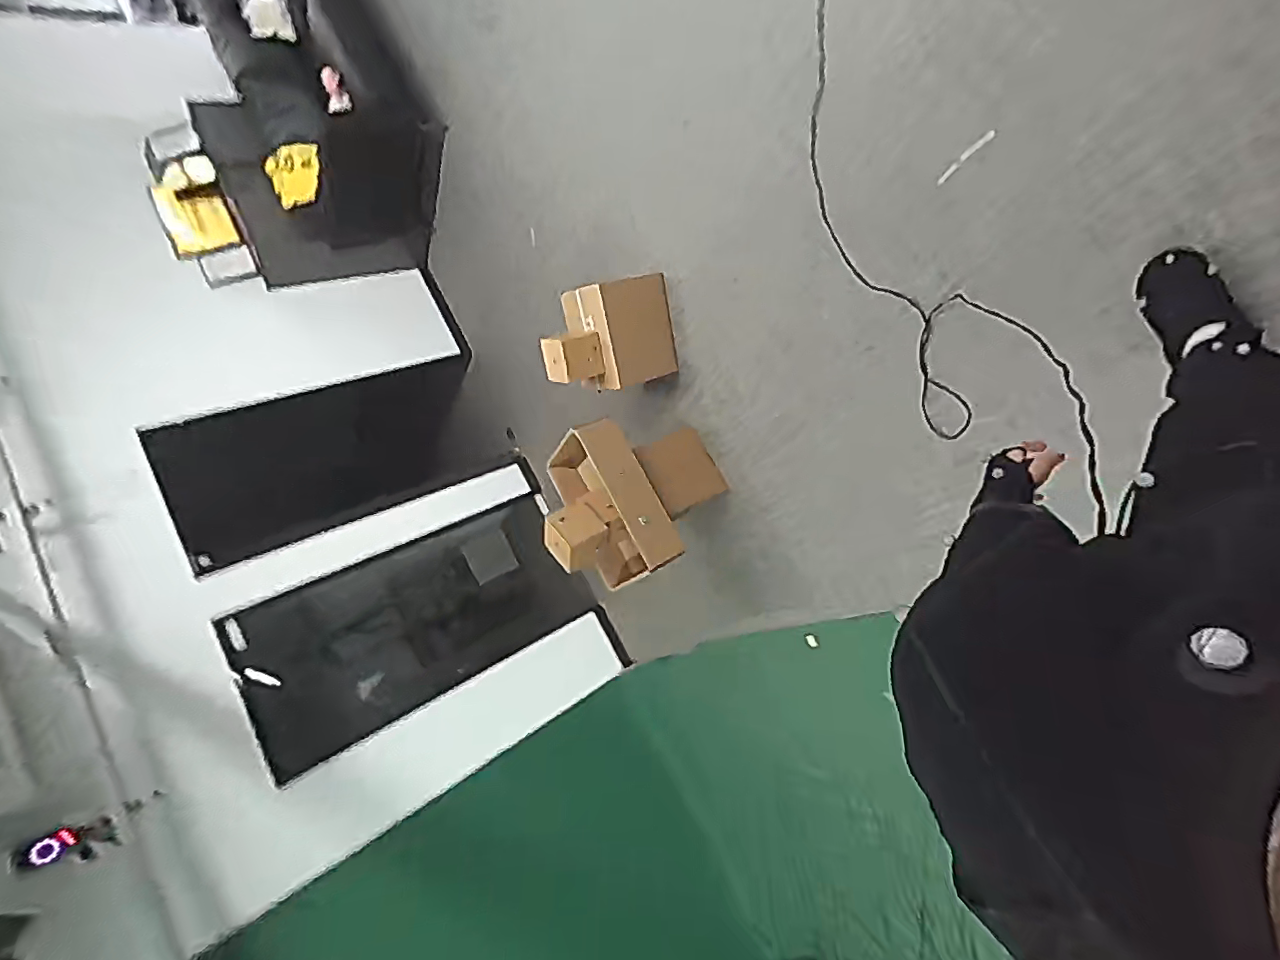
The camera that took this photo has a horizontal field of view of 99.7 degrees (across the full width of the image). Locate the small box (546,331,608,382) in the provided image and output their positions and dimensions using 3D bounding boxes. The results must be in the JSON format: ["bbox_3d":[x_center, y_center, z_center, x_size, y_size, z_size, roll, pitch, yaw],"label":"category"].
[{"bbox_3d":[-0.249,-0.496,2.150,0.179,0.176,0.168,20,126,52],"label":"small box"}]

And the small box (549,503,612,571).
[{"bbox_3d":[-0.228,0.208,2.056,0.179,0.176,0.168,44,143,32],"label":"small box"}]

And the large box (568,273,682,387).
[{"bbox_3d":[-0.059,-0.617,2.254,0.320,0.320,0.408,14,120,53],"label":"large box"}]
